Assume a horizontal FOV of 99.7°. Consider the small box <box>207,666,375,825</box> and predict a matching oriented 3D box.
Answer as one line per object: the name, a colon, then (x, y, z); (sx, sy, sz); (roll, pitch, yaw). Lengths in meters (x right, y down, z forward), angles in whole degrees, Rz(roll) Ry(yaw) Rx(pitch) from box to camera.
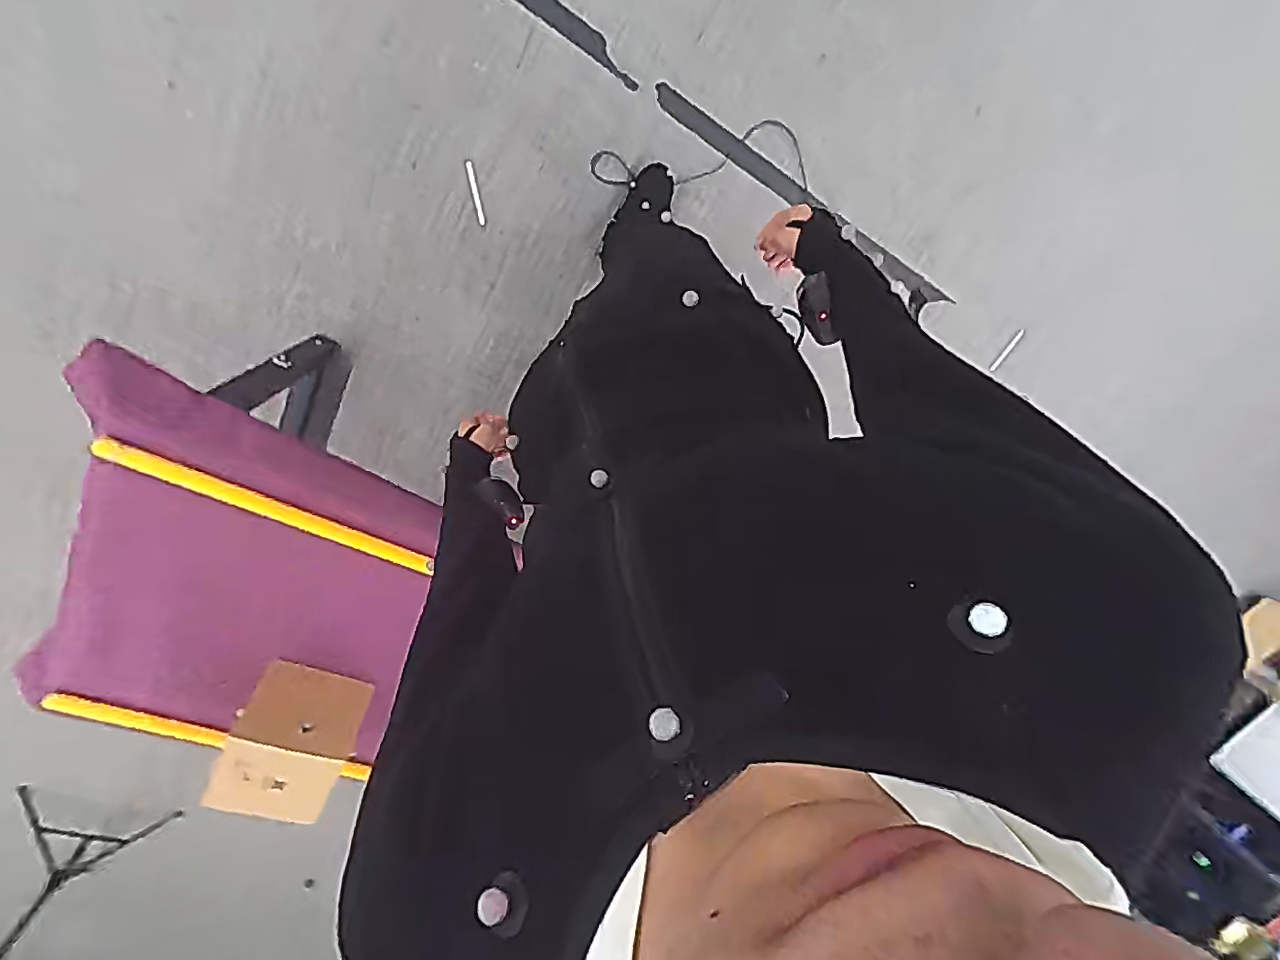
small box: (-0.590, 0.453, 0.938); (0.179, 0.176, 0.168); (25, 108, -19)
